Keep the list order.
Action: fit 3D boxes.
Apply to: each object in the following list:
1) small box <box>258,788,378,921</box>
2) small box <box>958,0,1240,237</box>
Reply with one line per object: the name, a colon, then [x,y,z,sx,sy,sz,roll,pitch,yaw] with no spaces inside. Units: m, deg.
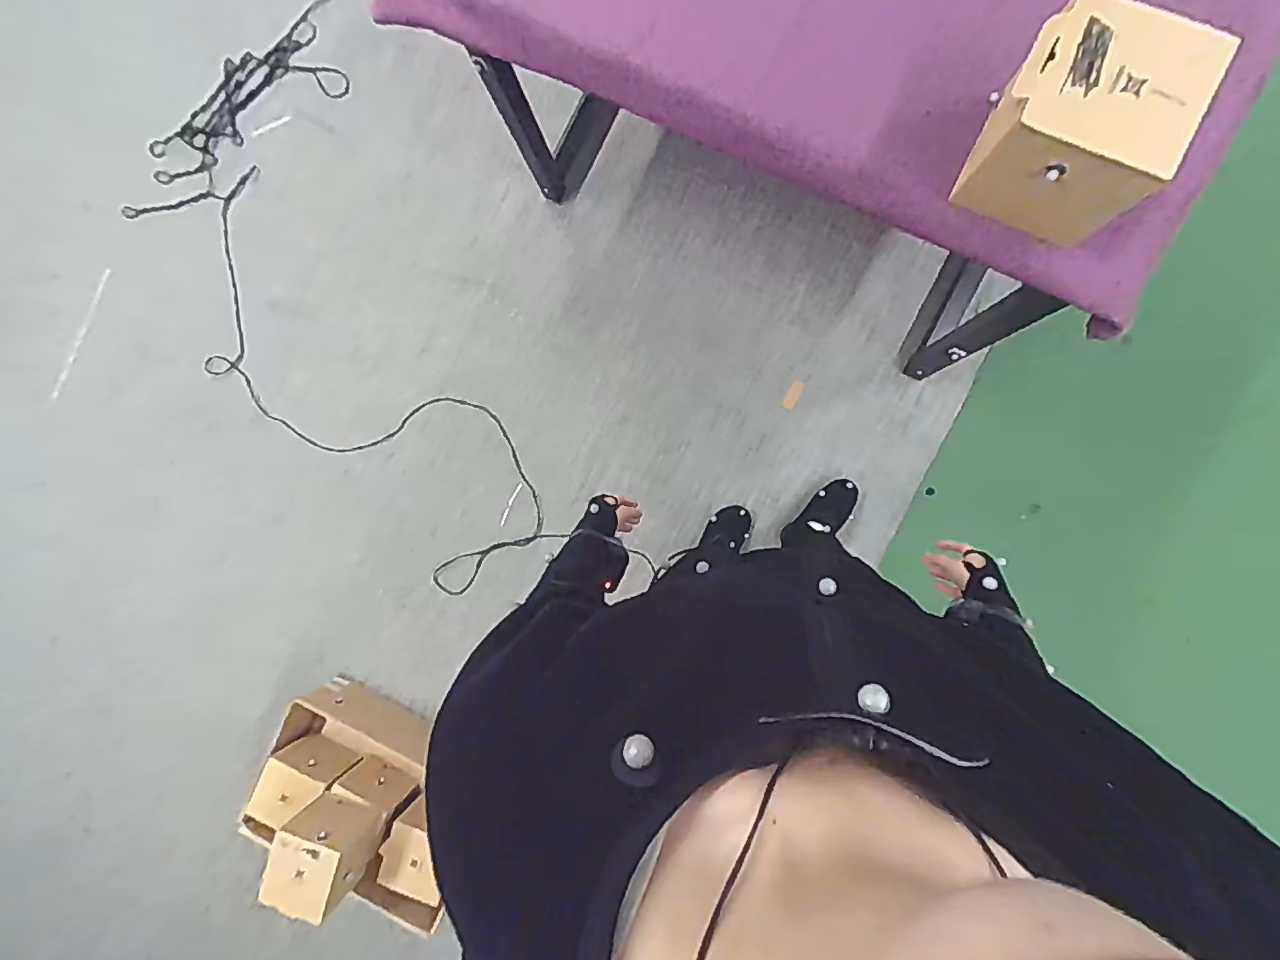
small box: [-0.769,0.896,1.309,0.168,0.176,0.179,16,90,6]
small box: [0.537,-0.433,0.667,0.179,0.176,0.168,26,92,6]
